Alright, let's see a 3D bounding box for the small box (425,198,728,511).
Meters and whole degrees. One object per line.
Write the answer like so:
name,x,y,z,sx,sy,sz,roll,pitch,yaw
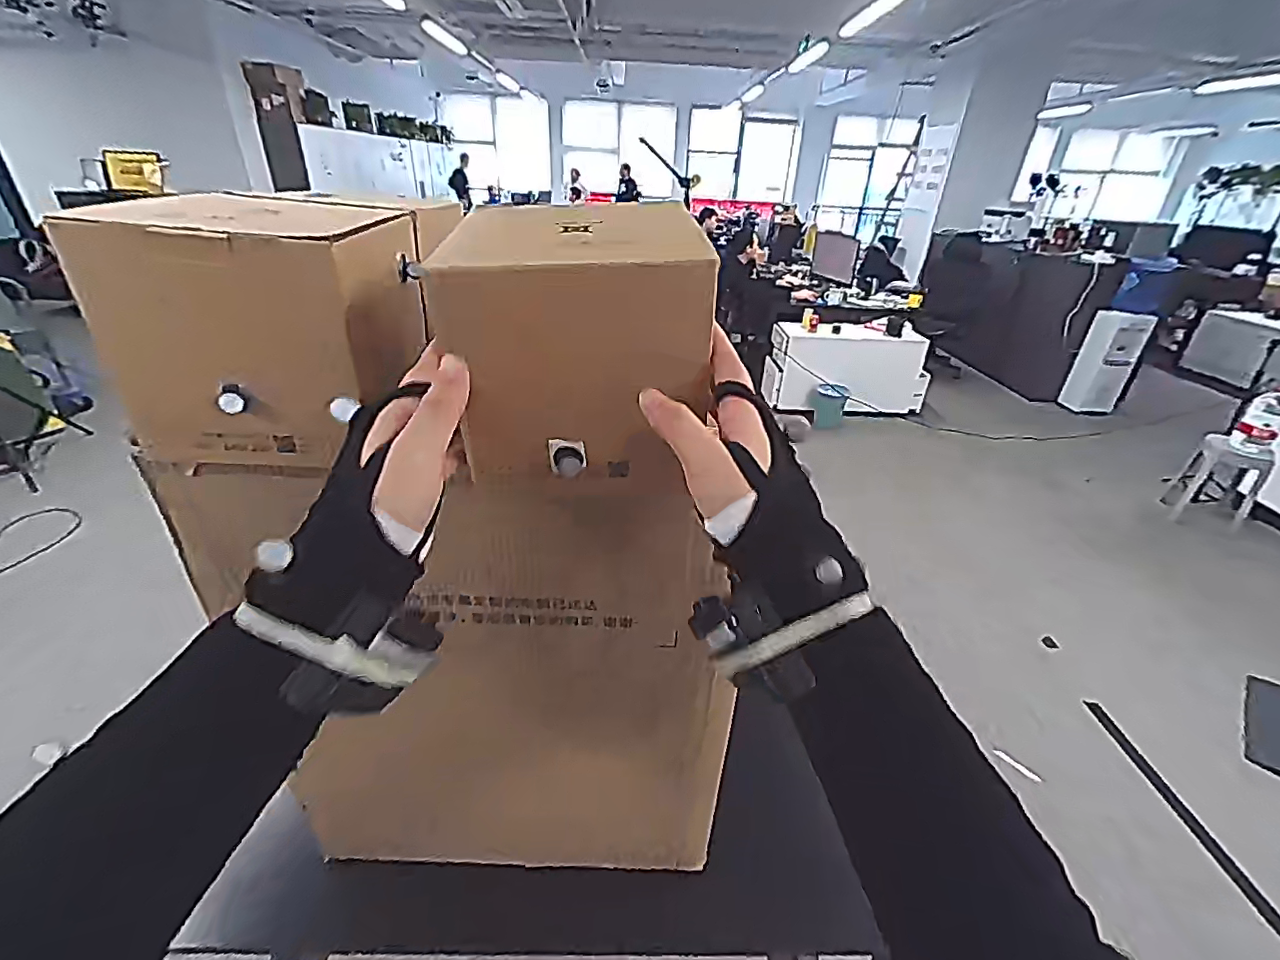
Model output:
small box,-0.038,-0.098,0.401,0.168,0.176,0.179,-4,38,-3
